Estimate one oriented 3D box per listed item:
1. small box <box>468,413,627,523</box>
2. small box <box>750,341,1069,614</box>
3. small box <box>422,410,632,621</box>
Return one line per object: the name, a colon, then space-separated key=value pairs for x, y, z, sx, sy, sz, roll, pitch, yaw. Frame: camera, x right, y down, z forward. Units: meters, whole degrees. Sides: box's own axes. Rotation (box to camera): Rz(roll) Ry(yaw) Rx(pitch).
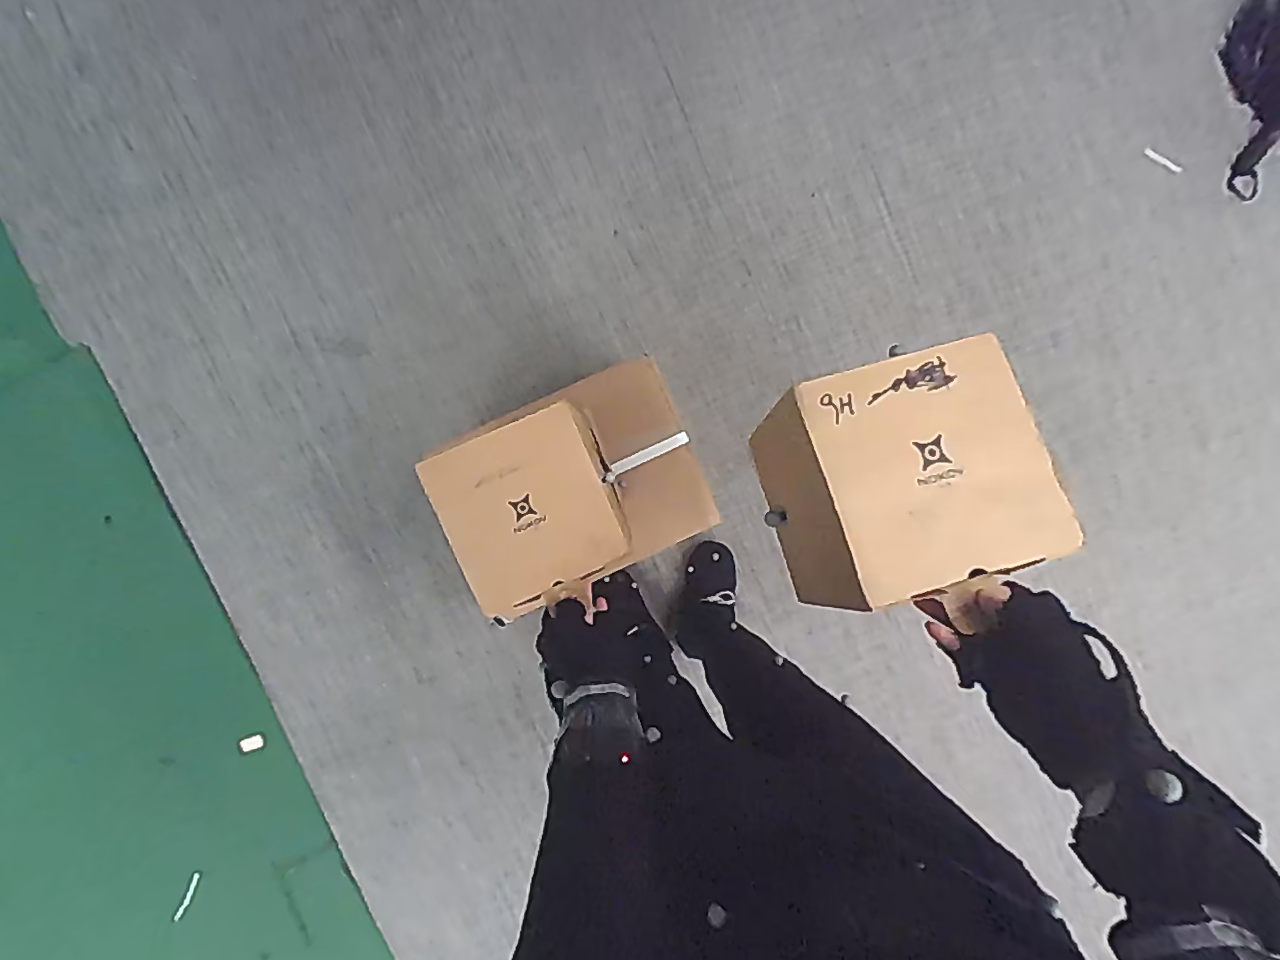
small box: x=-0.128 y=0.003 z=0.792 sx=0.179 sy=0.176 sz=0.168 roll=-17 pitch=96 yaw=-1
small box: x=0.214 y=0.006 z=0.483 sx=0.168 sy=0.176 sz=0.179 roll=-16 pitch=81 yaw=-4
small box: x=-0.116 y=0.032 z=0.631 sx=0.168 sy=0.176 sz=0.179 roll=-24 pitch=94 yaw=-2
